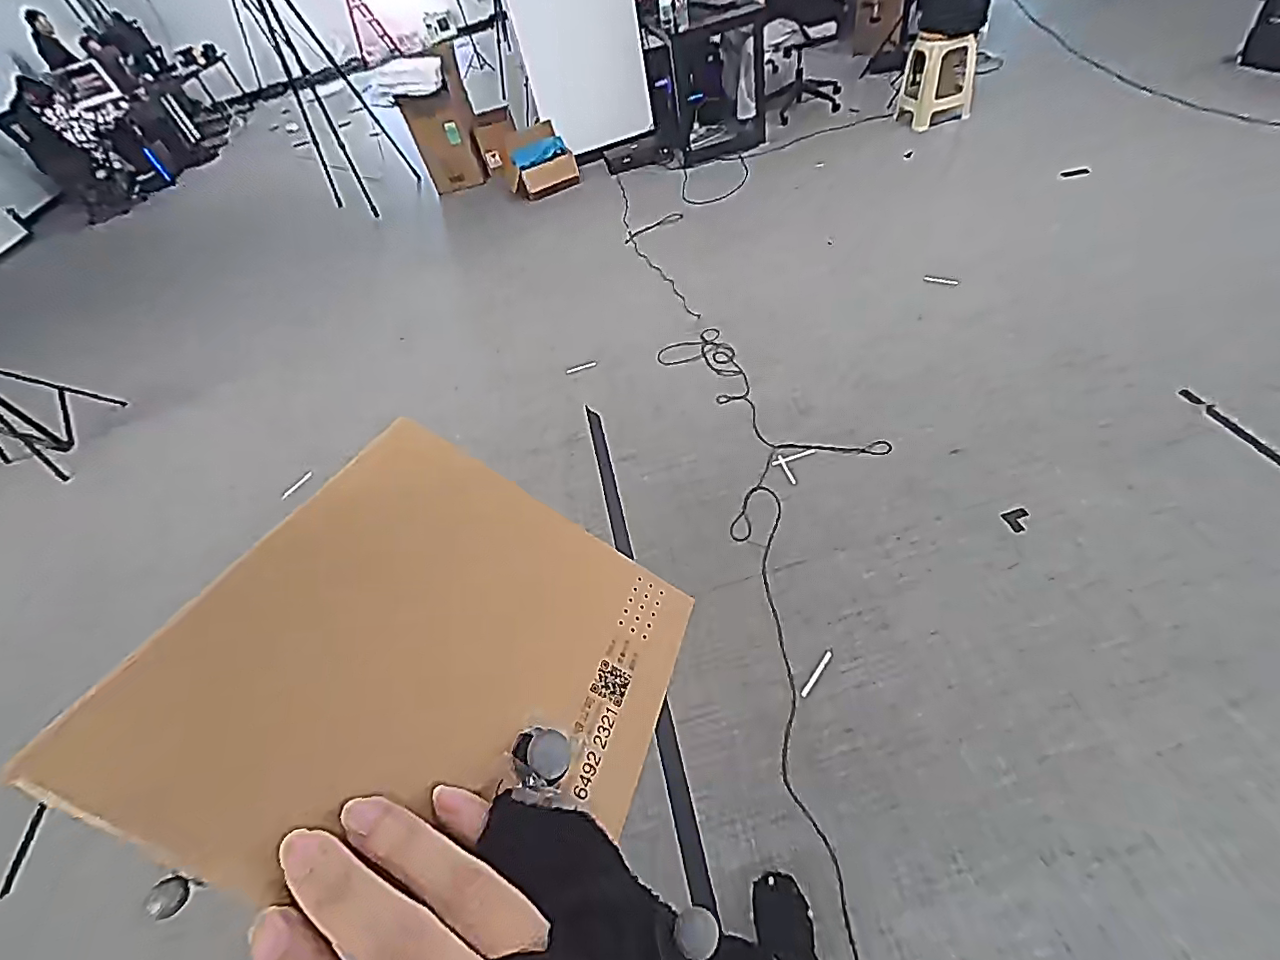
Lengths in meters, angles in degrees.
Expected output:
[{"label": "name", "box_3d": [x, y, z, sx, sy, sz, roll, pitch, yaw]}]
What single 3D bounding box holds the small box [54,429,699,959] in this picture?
[{"label": "small box", "box_3d": [-0.098, 0.117, 0.266, 0.176, 0.179, 0.168, 33, 45, -7]}]
